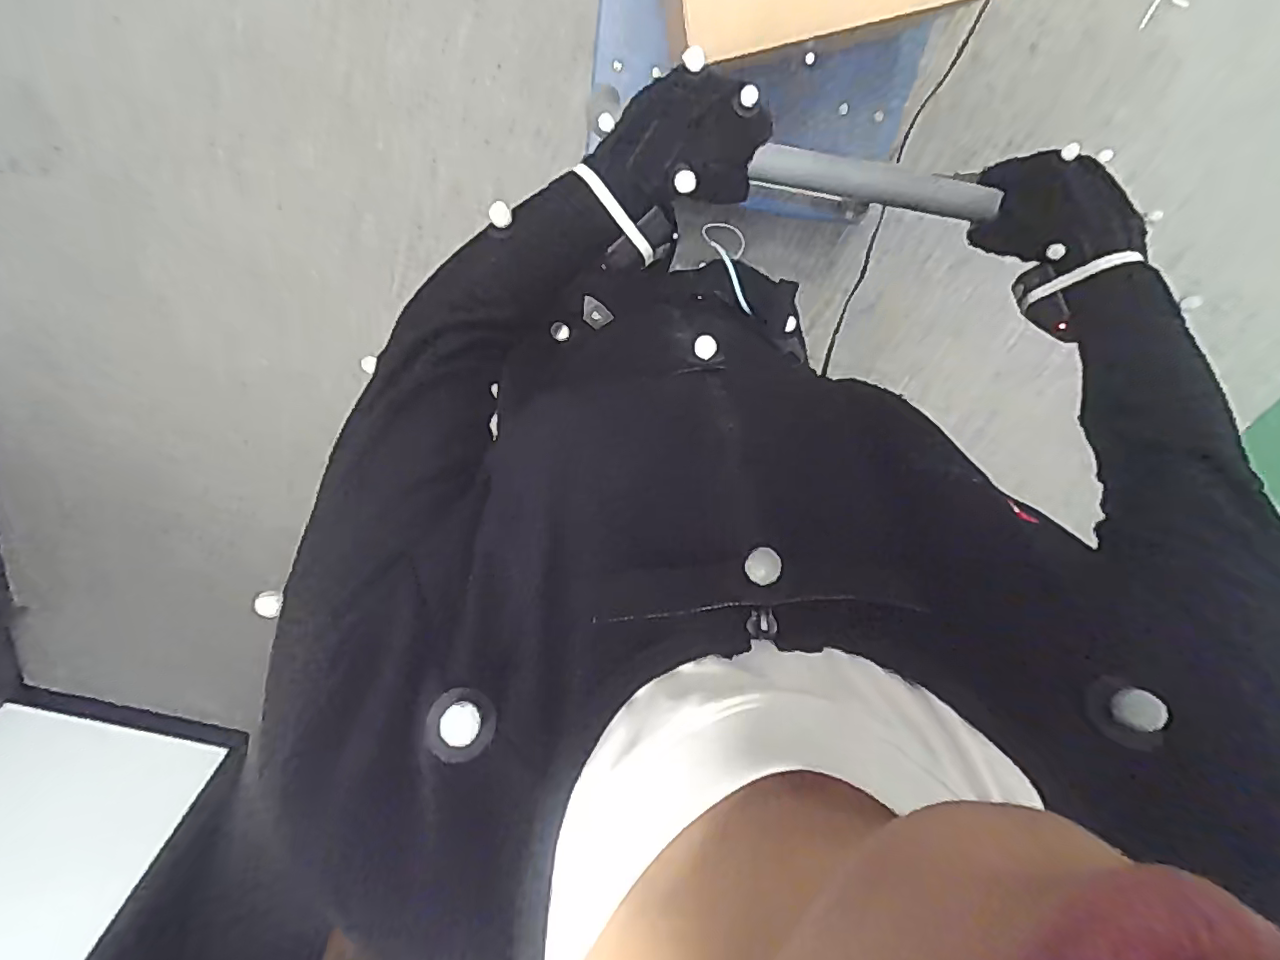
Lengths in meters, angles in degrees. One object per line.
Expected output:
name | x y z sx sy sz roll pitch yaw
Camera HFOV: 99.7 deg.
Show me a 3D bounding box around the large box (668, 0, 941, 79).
large box | 0.234 -0.810 0.758 0.408 0.320 0.320 -10 120 7
